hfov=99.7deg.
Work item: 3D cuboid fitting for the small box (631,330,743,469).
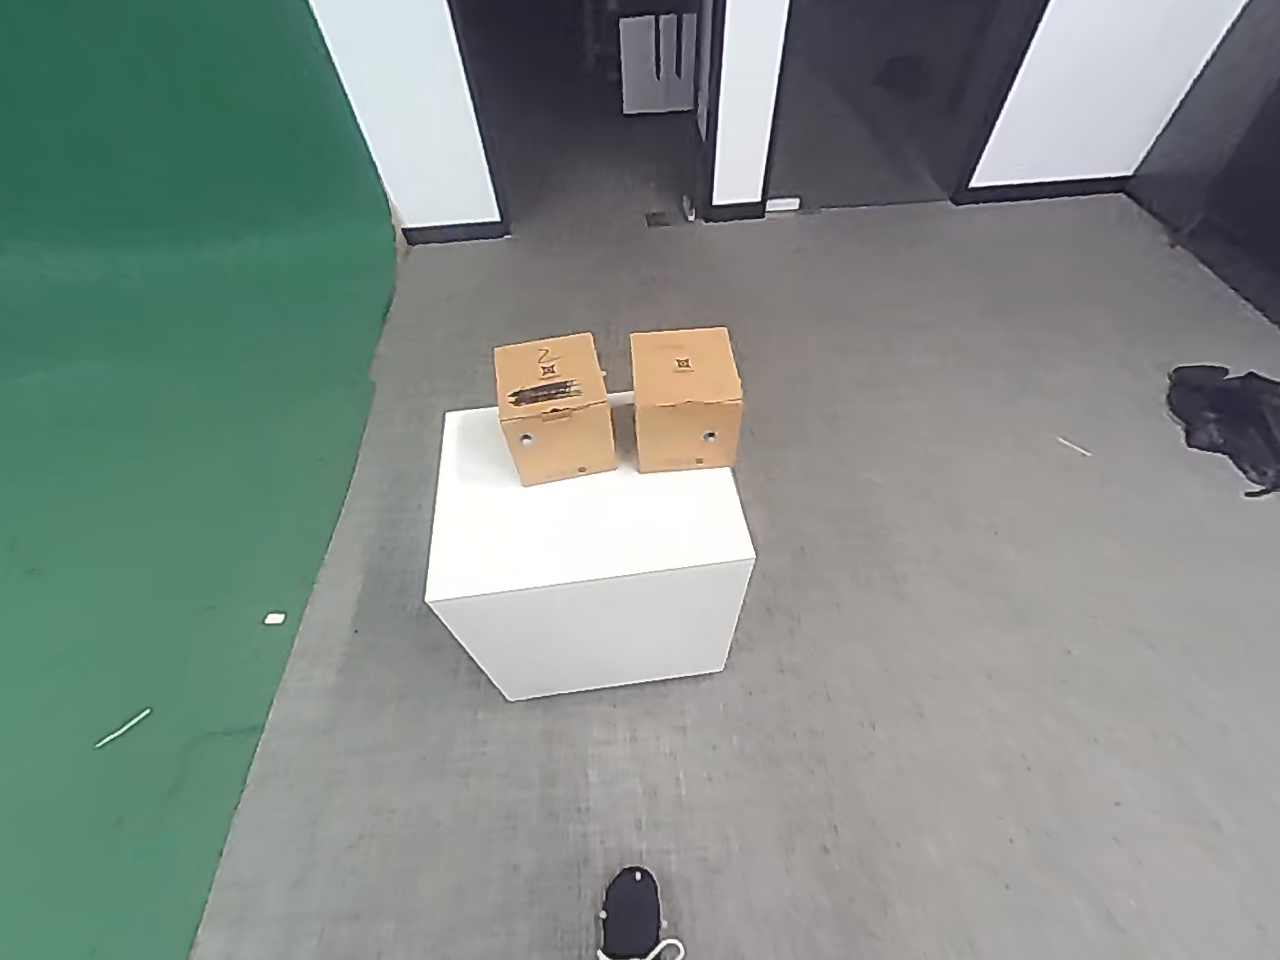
[{"bbox_3d":[0.074,-0.130,0.922,0.168,0.176,0.179,-4,53,-1],"label":"small box"}]
